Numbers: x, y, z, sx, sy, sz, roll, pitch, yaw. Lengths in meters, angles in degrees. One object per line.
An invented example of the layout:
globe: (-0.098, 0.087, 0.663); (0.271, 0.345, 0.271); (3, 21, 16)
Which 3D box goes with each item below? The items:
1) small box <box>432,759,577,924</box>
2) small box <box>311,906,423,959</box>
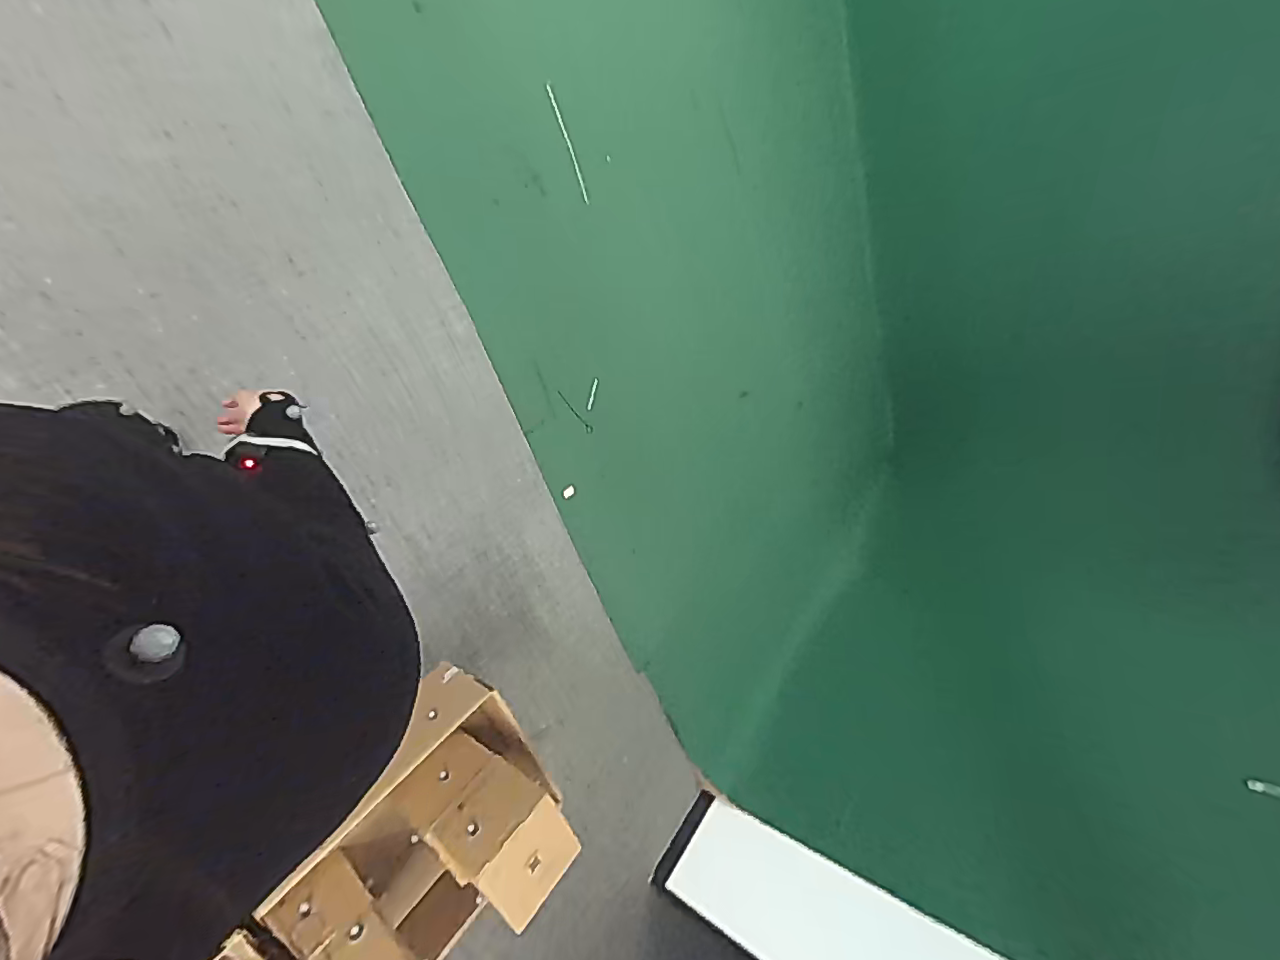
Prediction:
small box: (-0.253, 0.656, 1.008); (0.168, 0.176, 0.179); (-40, 123, -37)
small box: (-0.423, 0.818, 0.840); (0.168, 0.176, 0.179); (-38, 122, -38)
